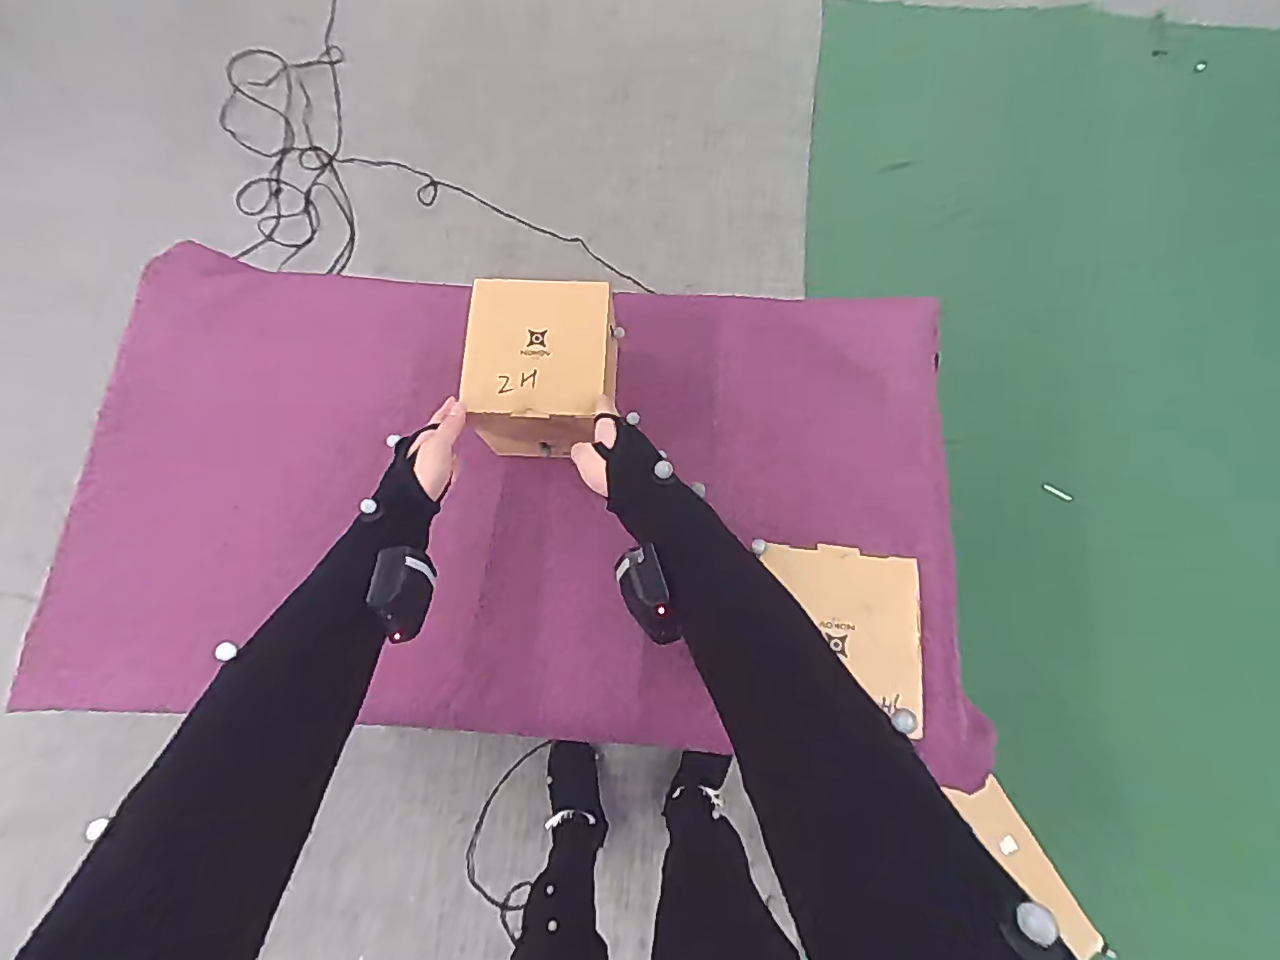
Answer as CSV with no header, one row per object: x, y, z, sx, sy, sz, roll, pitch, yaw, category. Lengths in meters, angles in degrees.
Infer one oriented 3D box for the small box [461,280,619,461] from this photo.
-0.117,-0.135,0.710,0.168,0.176,0.179,2,76,2,small box

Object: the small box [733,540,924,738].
0.202,0.179,0.620,0.168,0.176,0.179,6,73,4,small box
